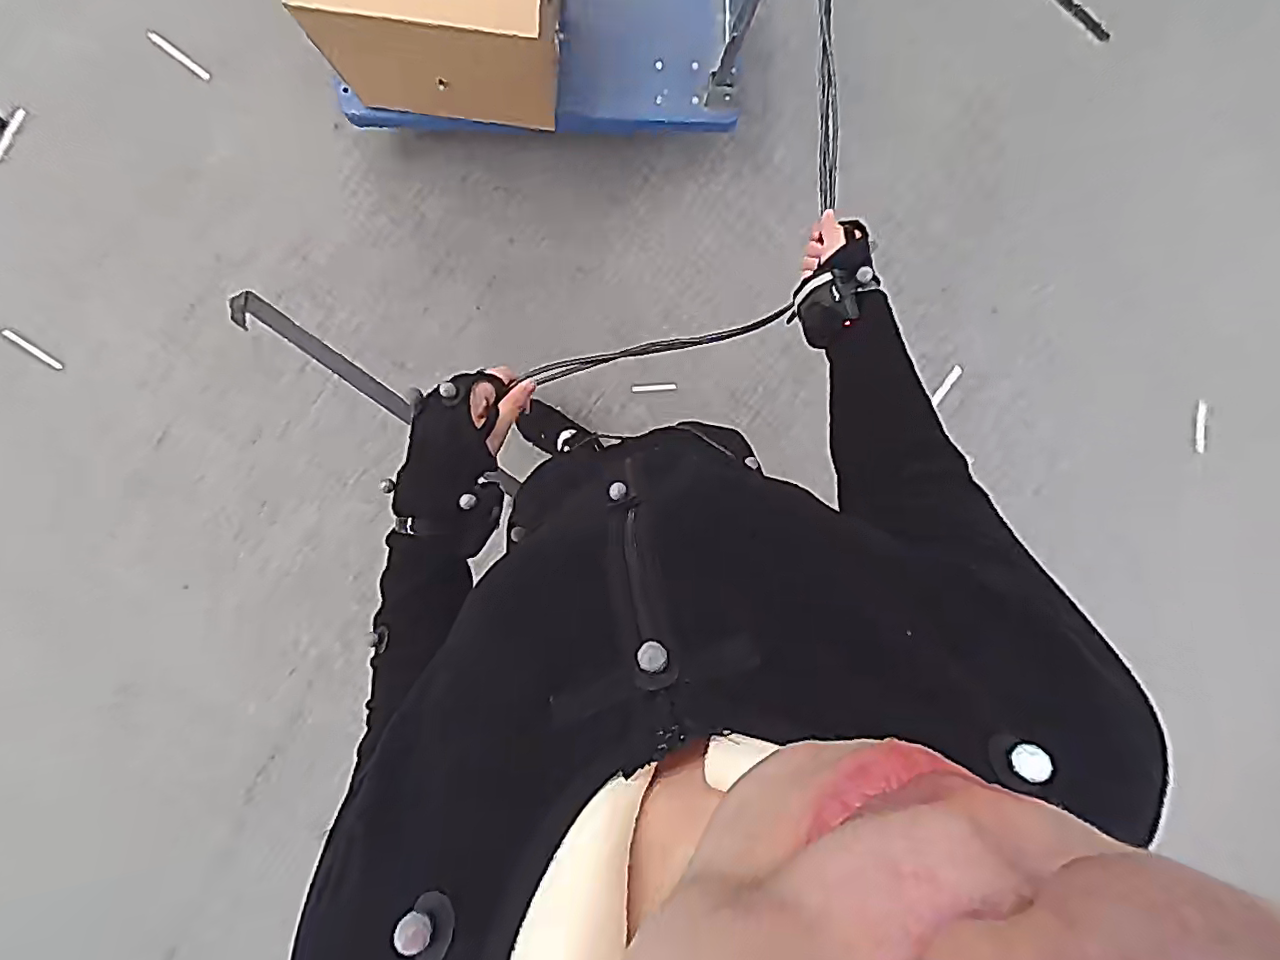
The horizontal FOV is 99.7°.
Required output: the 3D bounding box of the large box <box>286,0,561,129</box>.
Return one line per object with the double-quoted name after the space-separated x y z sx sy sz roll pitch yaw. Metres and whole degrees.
-0.358 -0.892 0.989 0.408 0.320 0.320 4 97 -4 "large box"
